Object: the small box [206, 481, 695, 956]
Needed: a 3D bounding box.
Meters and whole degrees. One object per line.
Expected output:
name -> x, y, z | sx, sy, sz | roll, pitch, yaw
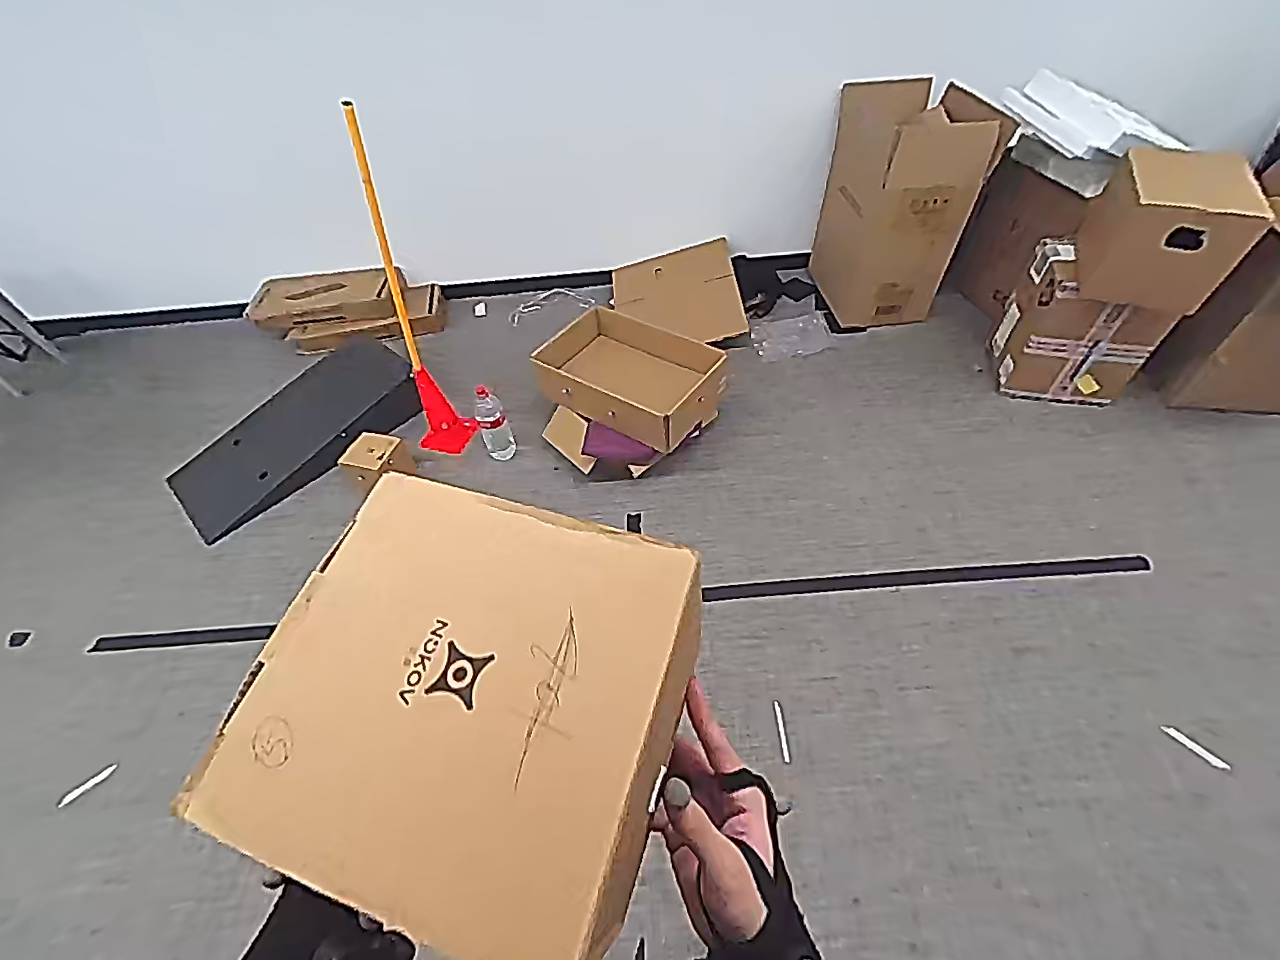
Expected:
small box -> -0.071, 0.126, 0.313 | 0.179, 0.176, 0.168 | 12, 61, 13
